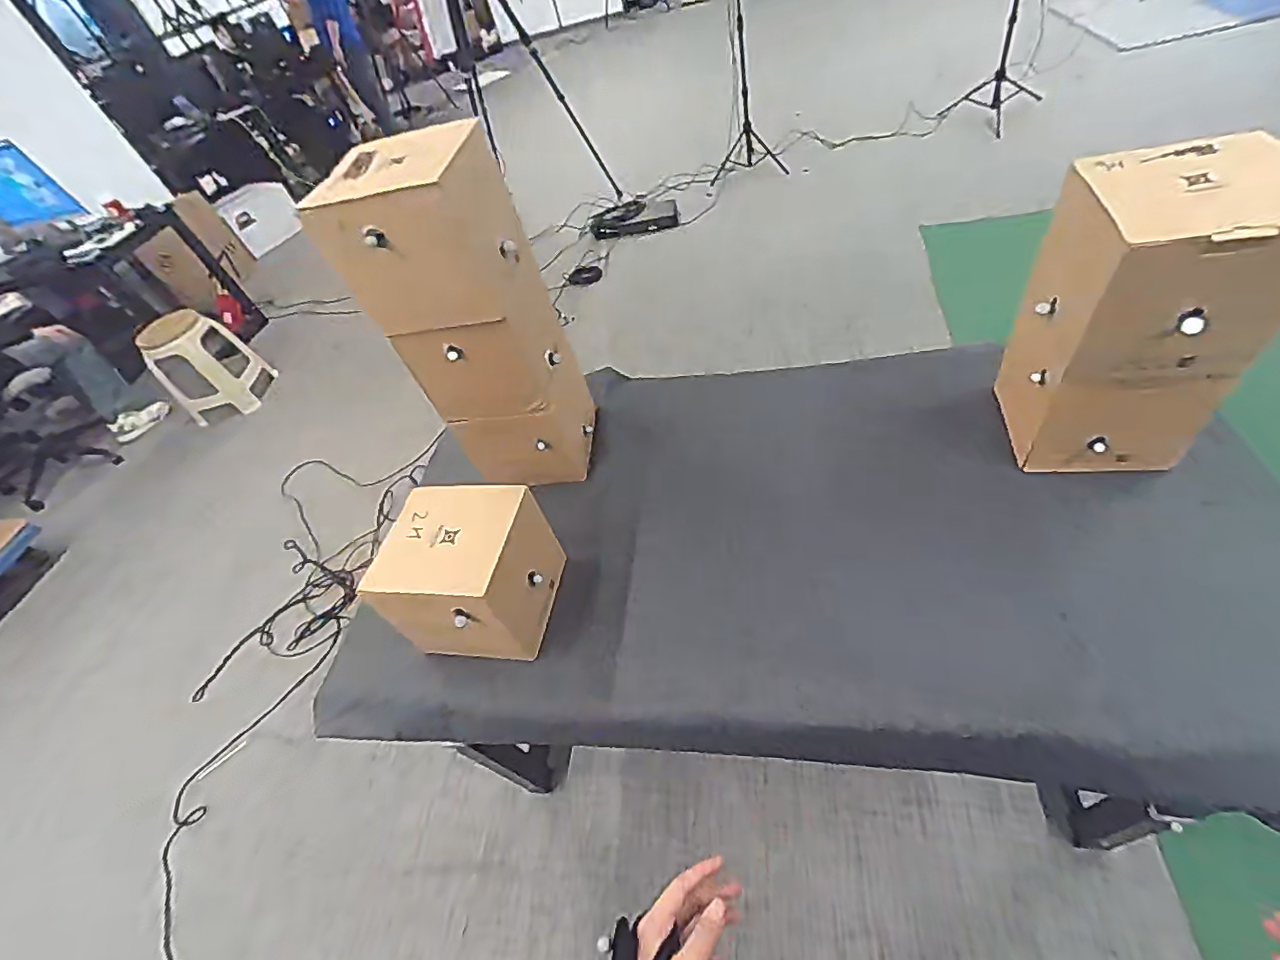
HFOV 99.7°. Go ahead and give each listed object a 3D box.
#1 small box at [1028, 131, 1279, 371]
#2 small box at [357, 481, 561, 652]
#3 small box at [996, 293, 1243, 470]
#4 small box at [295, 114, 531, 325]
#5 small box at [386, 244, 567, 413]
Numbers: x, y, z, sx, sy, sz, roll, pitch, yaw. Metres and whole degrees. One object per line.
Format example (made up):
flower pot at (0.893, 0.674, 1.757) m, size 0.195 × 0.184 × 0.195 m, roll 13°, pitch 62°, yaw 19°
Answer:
small box at (0.547, -0.229, 0.574) m, size 0.168 × 0.176 × 0.179 m, roll 0°, pitch 53°, yaw 16°
small box at (-0.223, 0.118, 0.725) m, size 0.179 × 0.176 × 0.168 m, roll -1°, pitch 48°, yaw 16°
small box at (0.589, -0.133, 0.700) m, size 0.168 × 0.176 × 0.179 m, roll -1°, pitch 52°, yaw 16°
small box at (-0.257, -0.307, 0.660) m, size 0.179 × 0.176 × 0.168 m, roll -3°, pitch 52°, yaw 12°
small box at (-0.224, -0.214, 0.791) m, size 0.179 × 0.176 × 0.168 m, roll -5°, pitch 52°, yaw 11°
